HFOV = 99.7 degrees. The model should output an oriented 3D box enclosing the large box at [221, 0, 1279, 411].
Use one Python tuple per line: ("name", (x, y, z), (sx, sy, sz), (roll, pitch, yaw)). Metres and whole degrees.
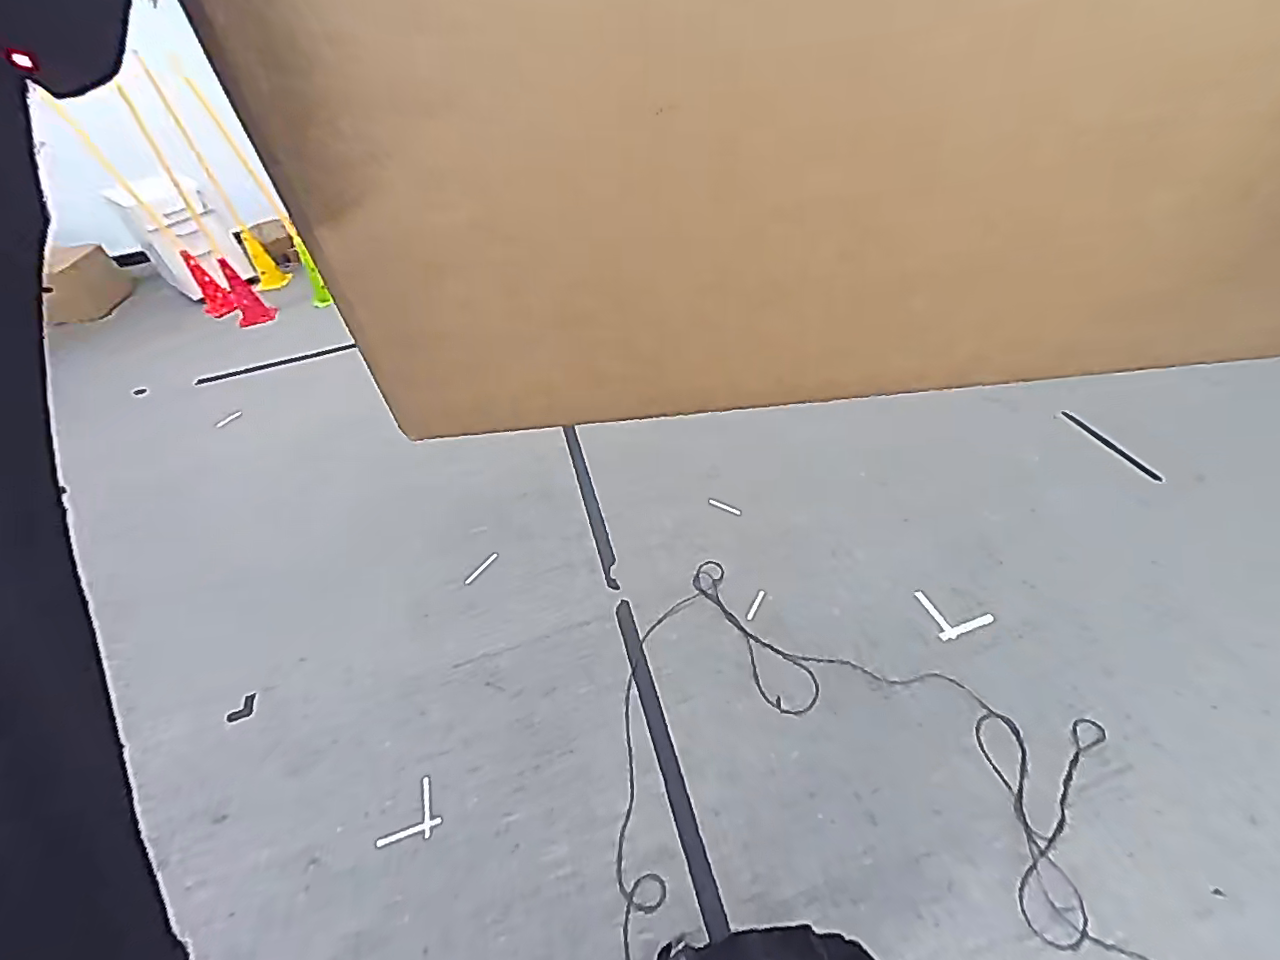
("large box", (0.068, -0.257, 0.252), (0.408, 0.320, 0.320), (-5, 44, 1))
